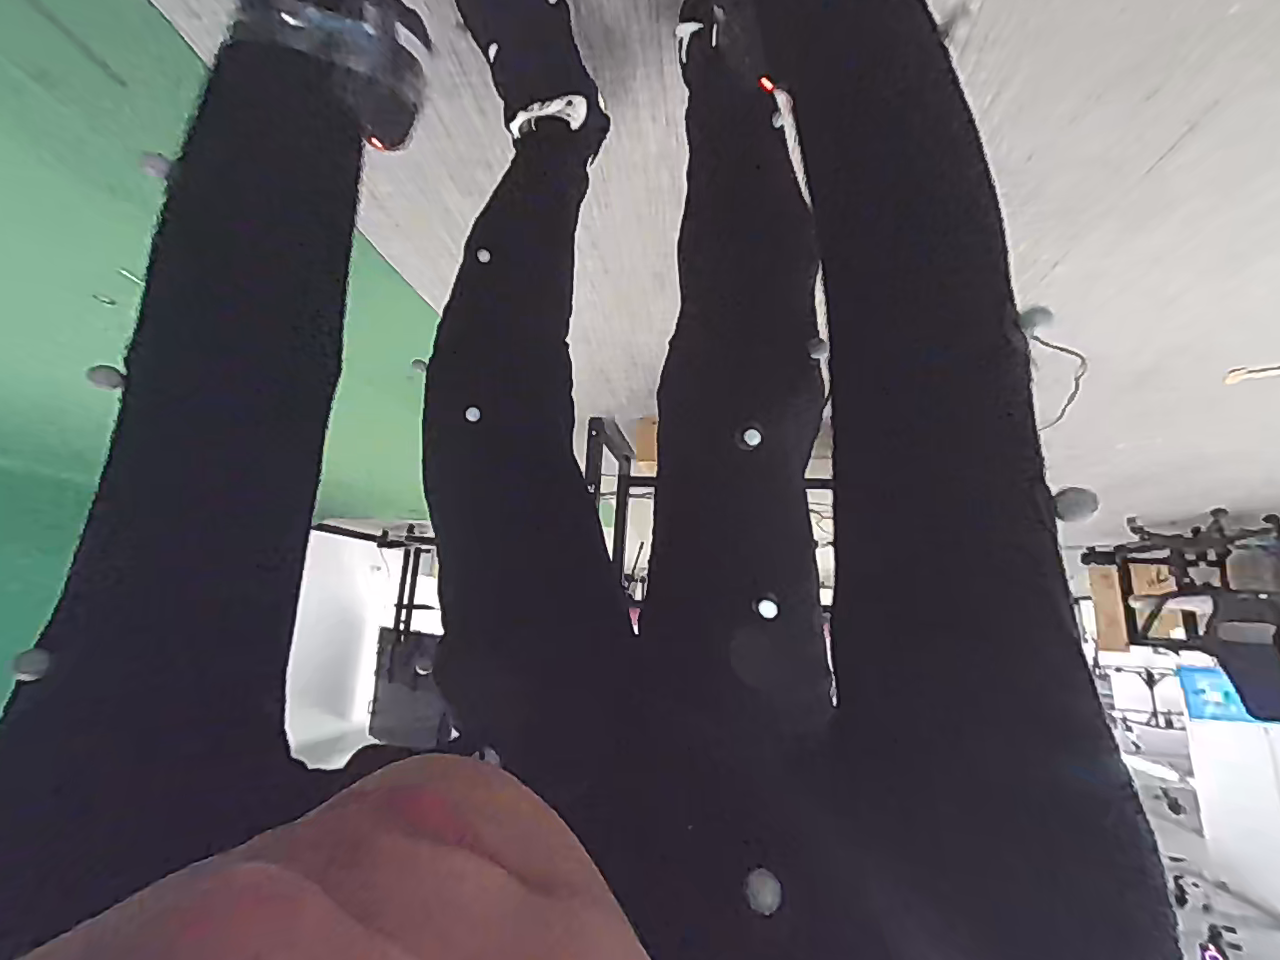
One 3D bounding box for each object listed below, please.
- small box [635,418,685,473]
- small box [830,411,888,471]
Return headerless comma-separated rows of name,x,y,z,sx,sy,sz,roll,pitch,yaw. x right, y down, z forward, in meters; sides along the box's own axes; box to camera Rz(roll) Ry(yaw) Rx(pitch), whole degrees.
small box,0.078,-0.129,2.007,0.168,0.176,0.179,0,167,11
small box,0.751,-0.136,1.872,0.168,0.176,0.179,-2,166,16
